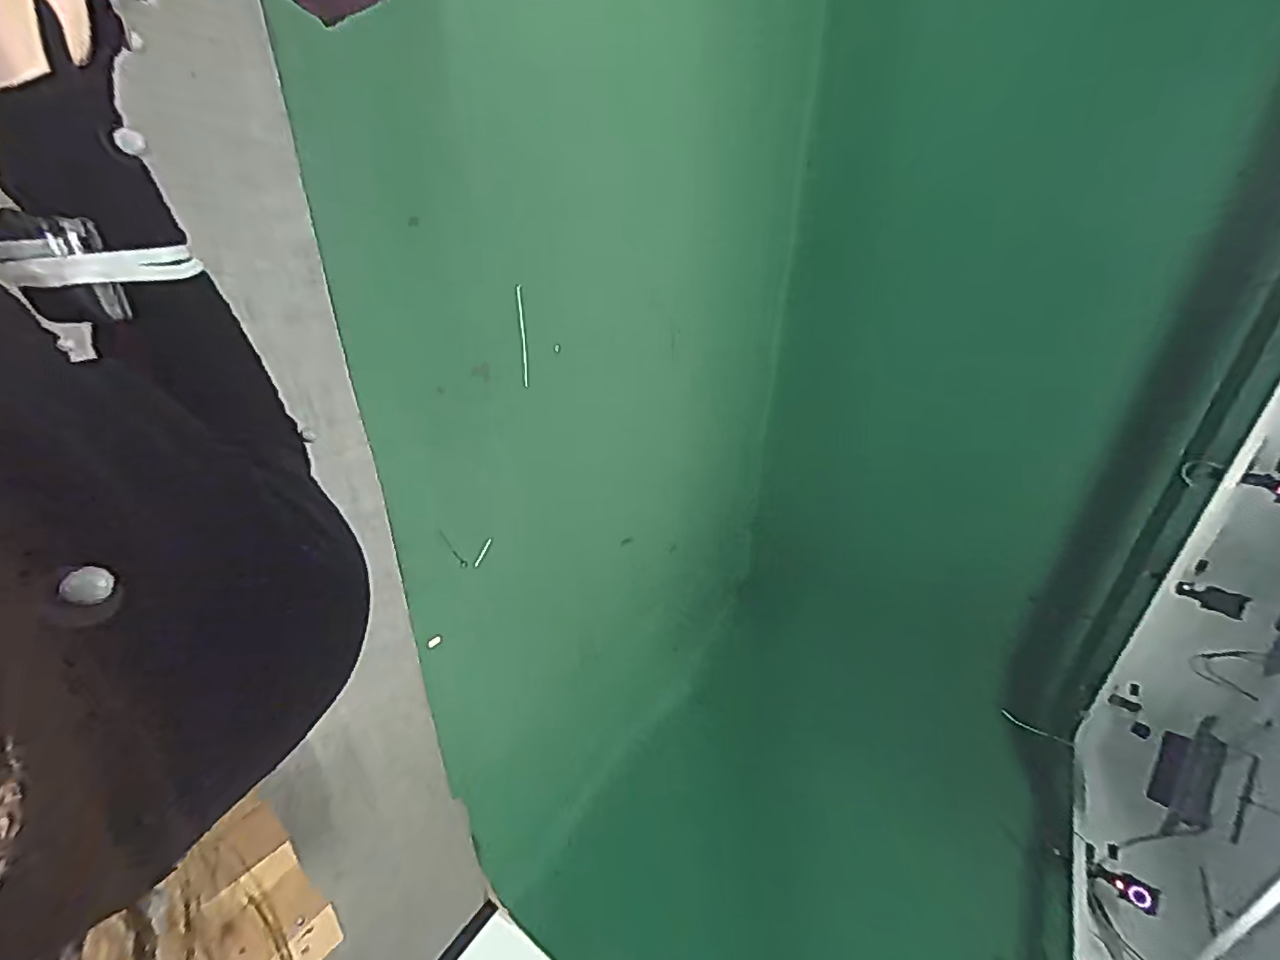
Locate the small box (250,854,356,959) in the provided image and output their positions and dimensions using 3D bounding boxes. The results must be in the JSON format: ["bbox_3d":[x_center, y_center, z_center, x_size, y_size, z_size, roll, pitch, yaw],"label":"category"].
[{"bbox_3d":[-0.890,1.148,1.433,0.168,0.176,0.179,-32,134,-48],"label":"small box"}]

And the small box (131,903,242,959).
[{"bbox_3d":[-1.016,1.117,1.208,0.179,0.176,0.168,-33,134,-46],"label":"small box"}]
